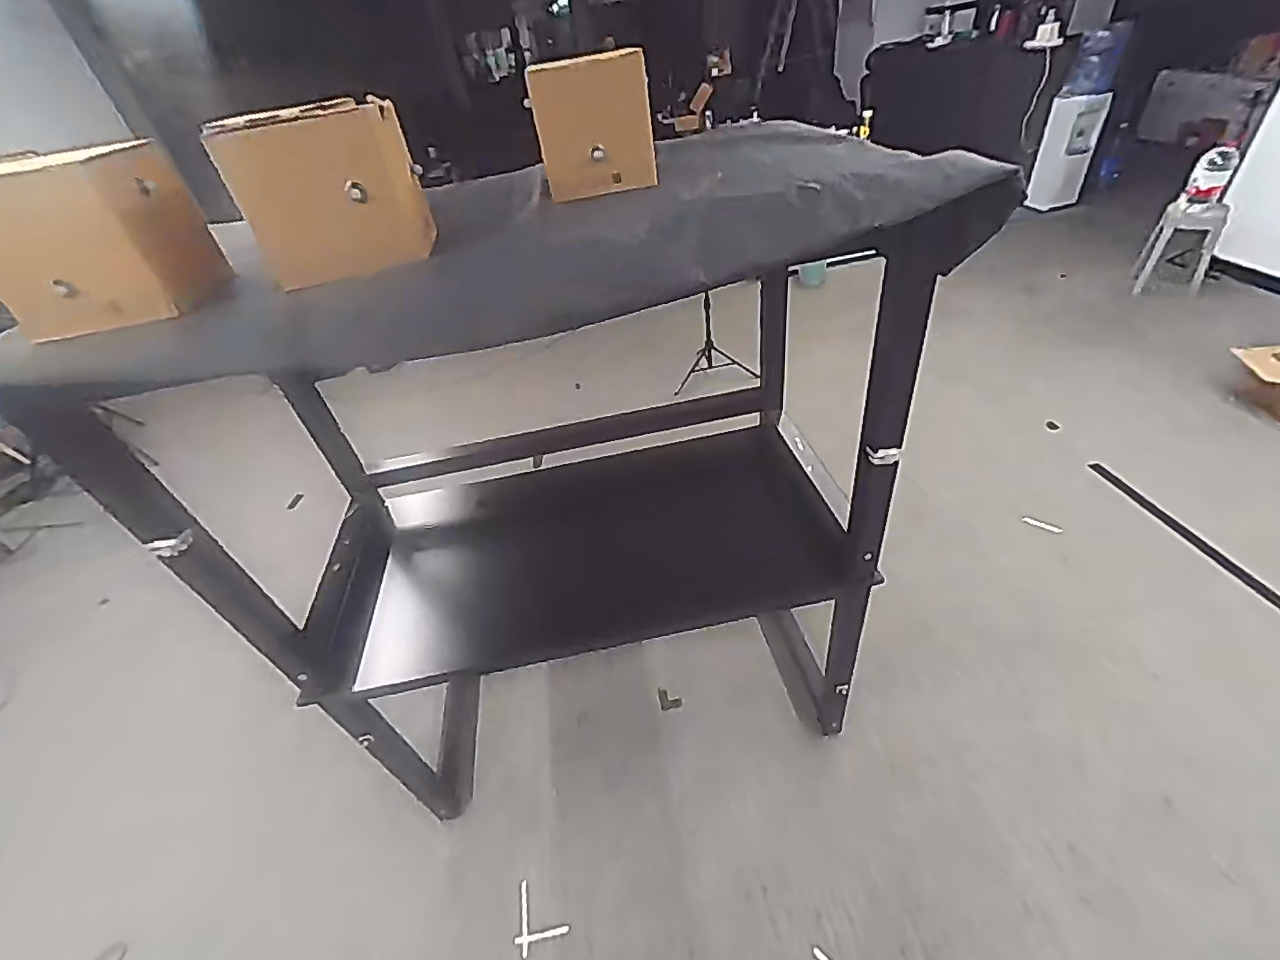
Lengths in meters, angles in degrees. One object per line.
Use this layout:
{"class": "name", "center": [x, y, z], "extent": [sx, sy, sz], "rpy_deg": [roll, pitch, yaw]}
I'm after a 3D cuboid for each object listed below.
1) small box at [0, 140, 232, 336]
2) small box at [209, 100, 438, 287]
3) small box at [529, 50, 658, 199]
{"class": "small box", "center": [-0.647, -0.296, 0.658], "extent": [0.168, 0.176, 0.179], "rpy_deg": [-14, 40, -5]}
{"class": "small box", "center": [-0.372, -0.362, 0.681], "extent": [0.179, 0.176, 0.168], "rpy_deg": [-13, 38, -4]}
{"class": "small box", "center": [-0.069, -0.558, 0.852], "extent": [0.168, 0.176, 0.179], "rpy_deg": [-10, 40, 0]}
